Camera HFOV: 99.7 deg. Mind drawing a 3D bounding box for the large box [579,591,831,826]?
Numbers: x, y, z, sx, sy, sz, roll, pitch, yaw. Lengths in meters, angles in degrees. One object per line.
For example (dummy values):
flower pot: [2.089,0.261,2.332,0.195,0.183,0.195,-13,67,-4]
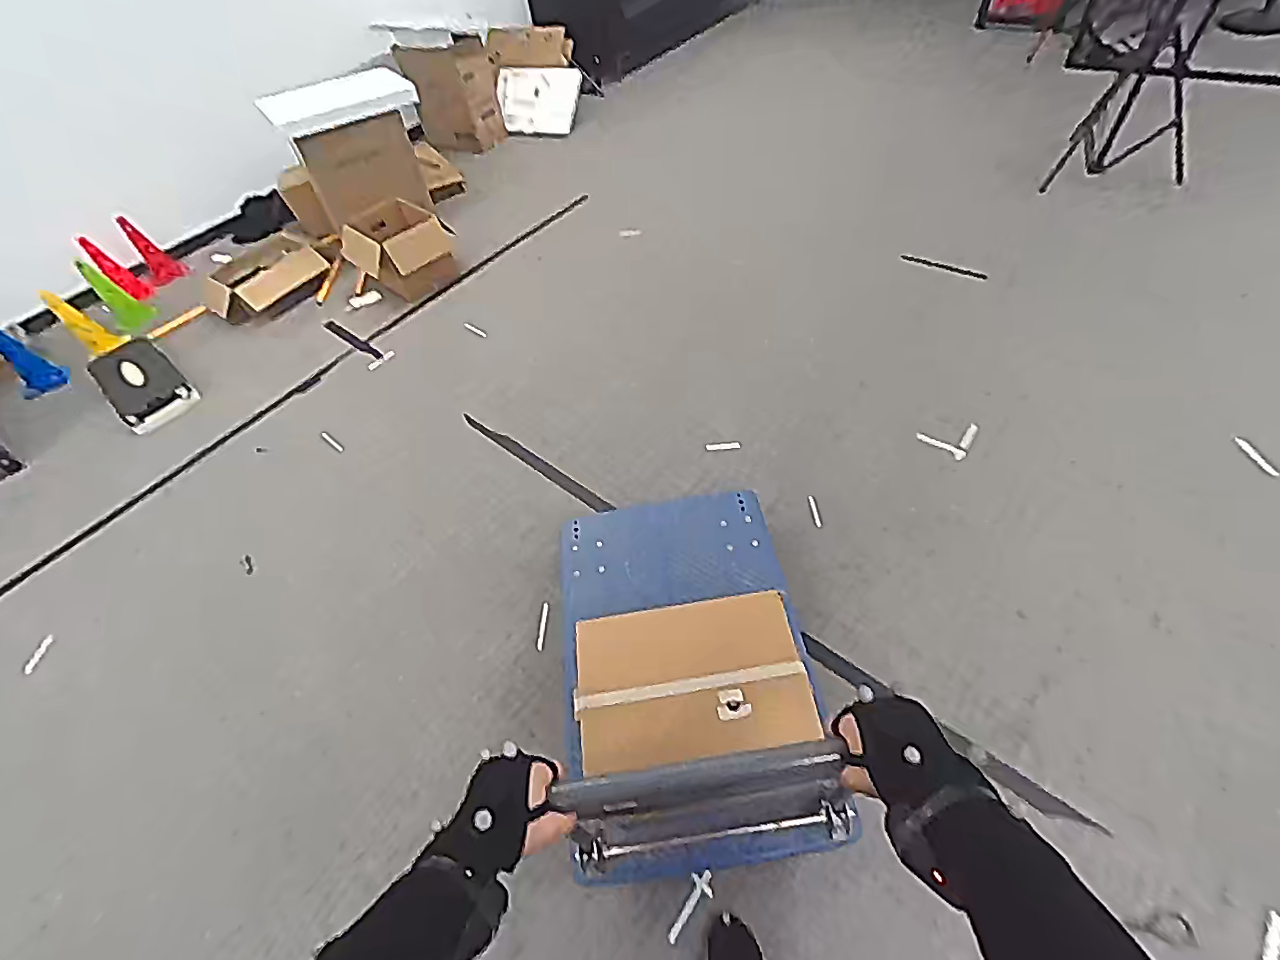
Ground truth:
large box: [0.110,0.463,1.082,0.408,0.320,0.320,-10,52,0]
